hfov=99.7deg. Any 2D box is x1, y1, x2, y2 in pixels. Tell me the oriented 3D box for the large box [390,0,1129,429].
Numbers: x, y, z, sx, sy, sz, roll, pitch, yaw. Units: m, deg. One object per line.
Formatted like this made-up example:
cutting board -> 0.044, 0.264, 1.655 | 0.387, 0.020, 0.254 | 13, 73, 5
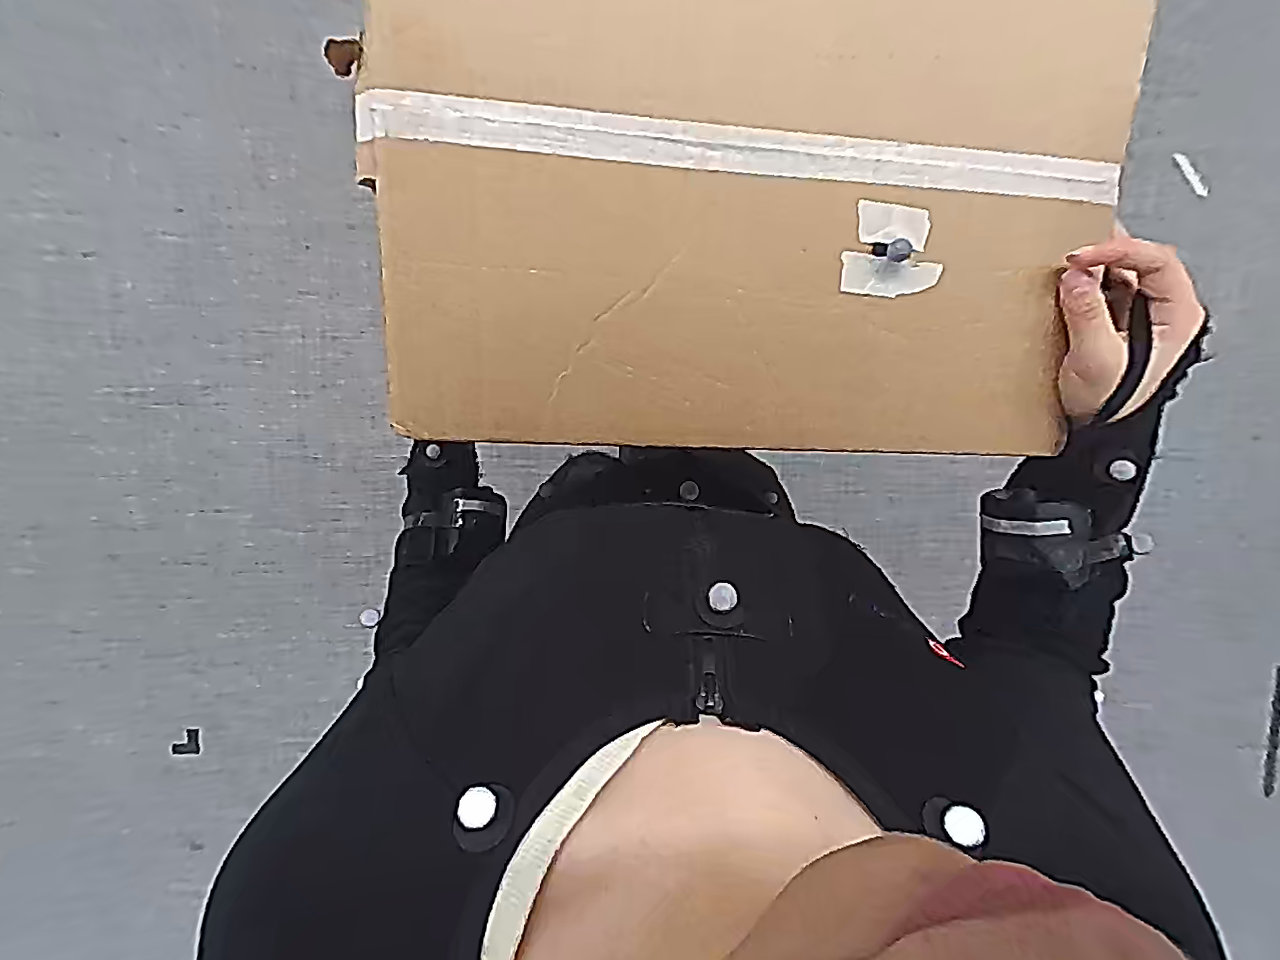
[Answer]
large box -> 0.052, -0.213, 0.437 | 0.408, 0.320, 0.320 | 1, 103, -9
